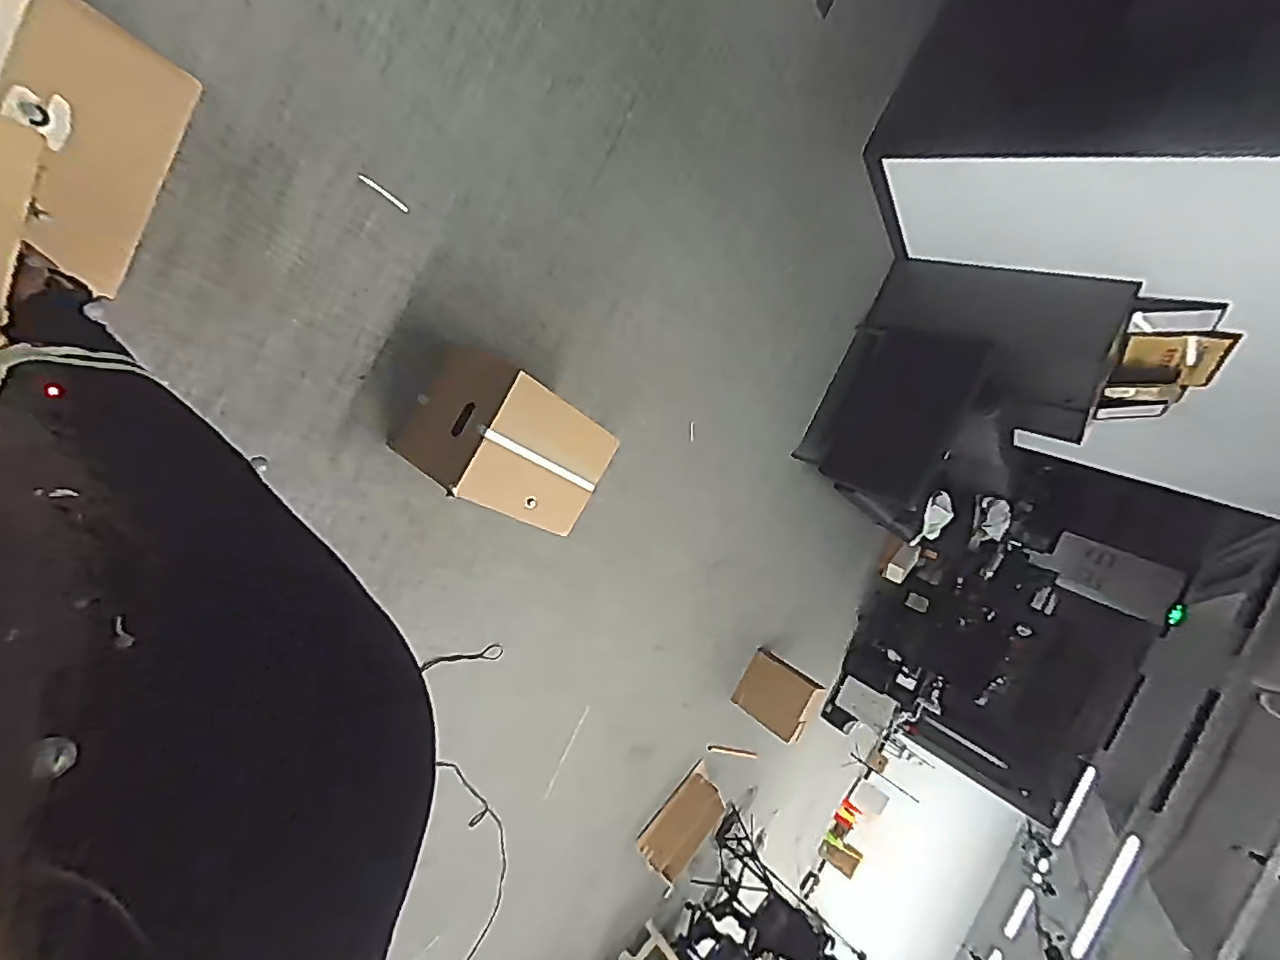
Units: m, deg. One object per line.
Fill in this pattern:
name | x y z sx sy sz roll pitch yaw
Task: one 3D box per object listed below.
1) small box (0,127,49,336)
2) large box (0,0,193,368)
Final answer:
small box | -0.582 -0.210 0.403 0.168 0.176 0.179 14 99 -52
large box | -0.836 -0.404 0.666 0.320 0.320 0.408 22 92 -52
